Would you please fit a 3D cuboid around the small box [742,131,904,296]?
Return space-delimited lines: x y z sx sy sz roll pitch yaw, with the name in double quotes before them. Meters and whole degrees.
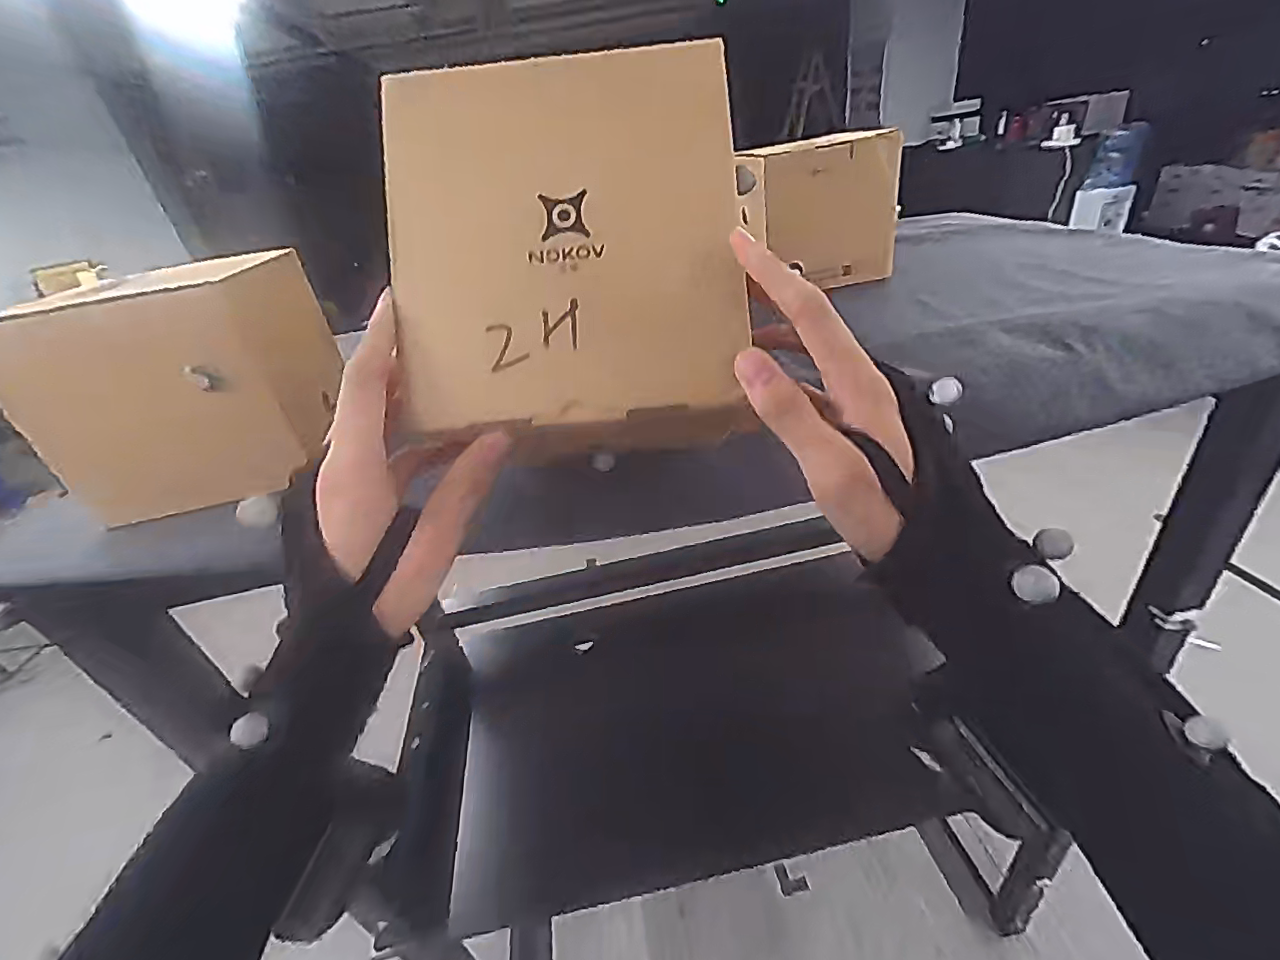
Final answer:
"small box" 0.232 -0.358 0.733 0.168 0.176 0.179 -10 31 0

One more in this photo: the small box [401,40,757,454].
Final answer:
"small box" -0.029 -0.116 0.335 0.168 0.179 0.176 -4 -3 2
